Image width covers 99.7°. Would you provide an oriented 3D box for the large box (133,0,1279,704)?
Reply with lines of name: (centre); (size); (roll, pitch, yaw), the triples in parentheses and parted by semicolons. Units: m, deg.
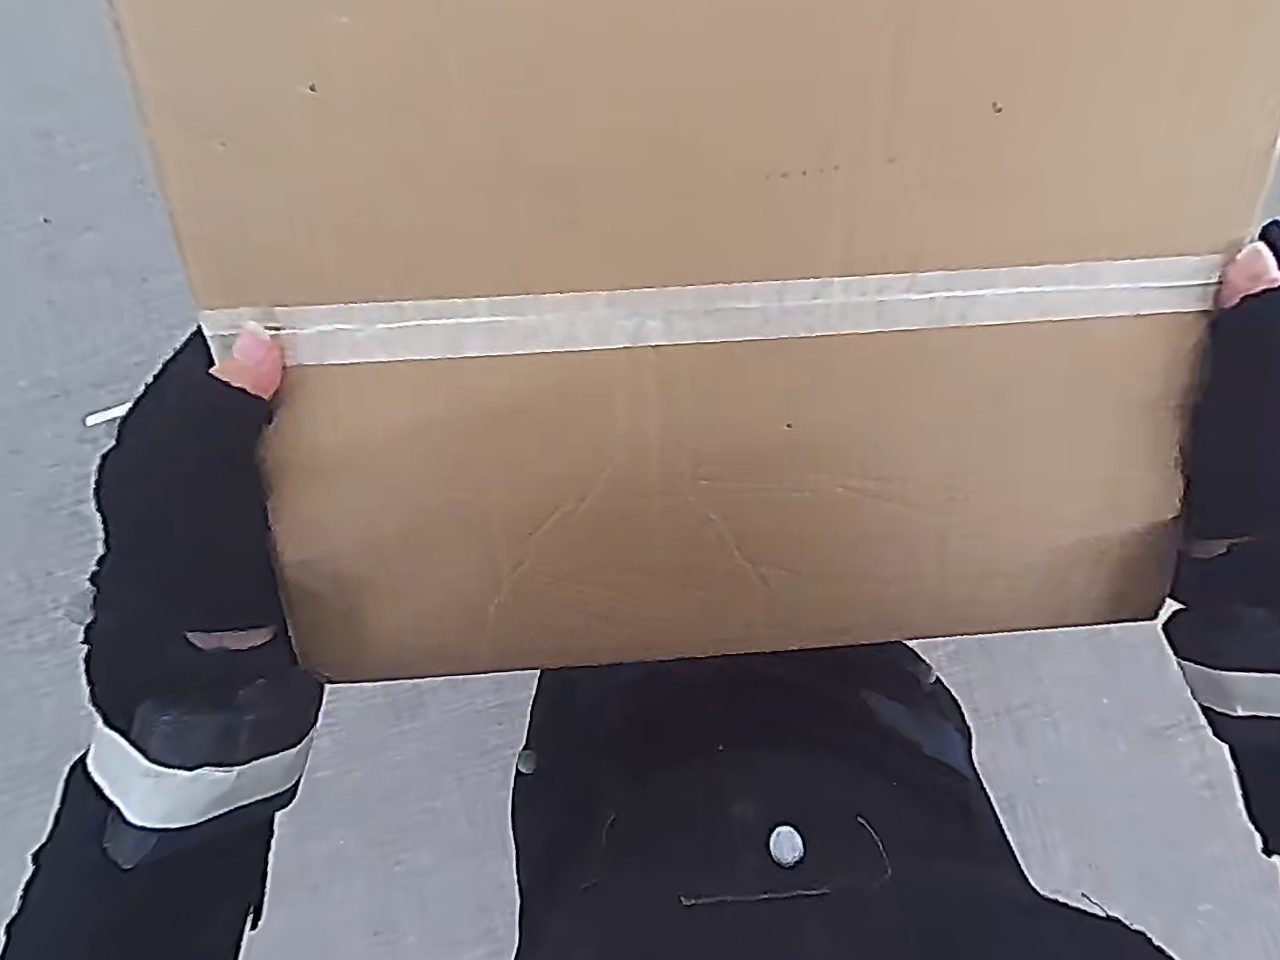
large box: (0.034, -0.098, 0.364); (0.408, 0.320, 0.320); (-4, 108, -2)
